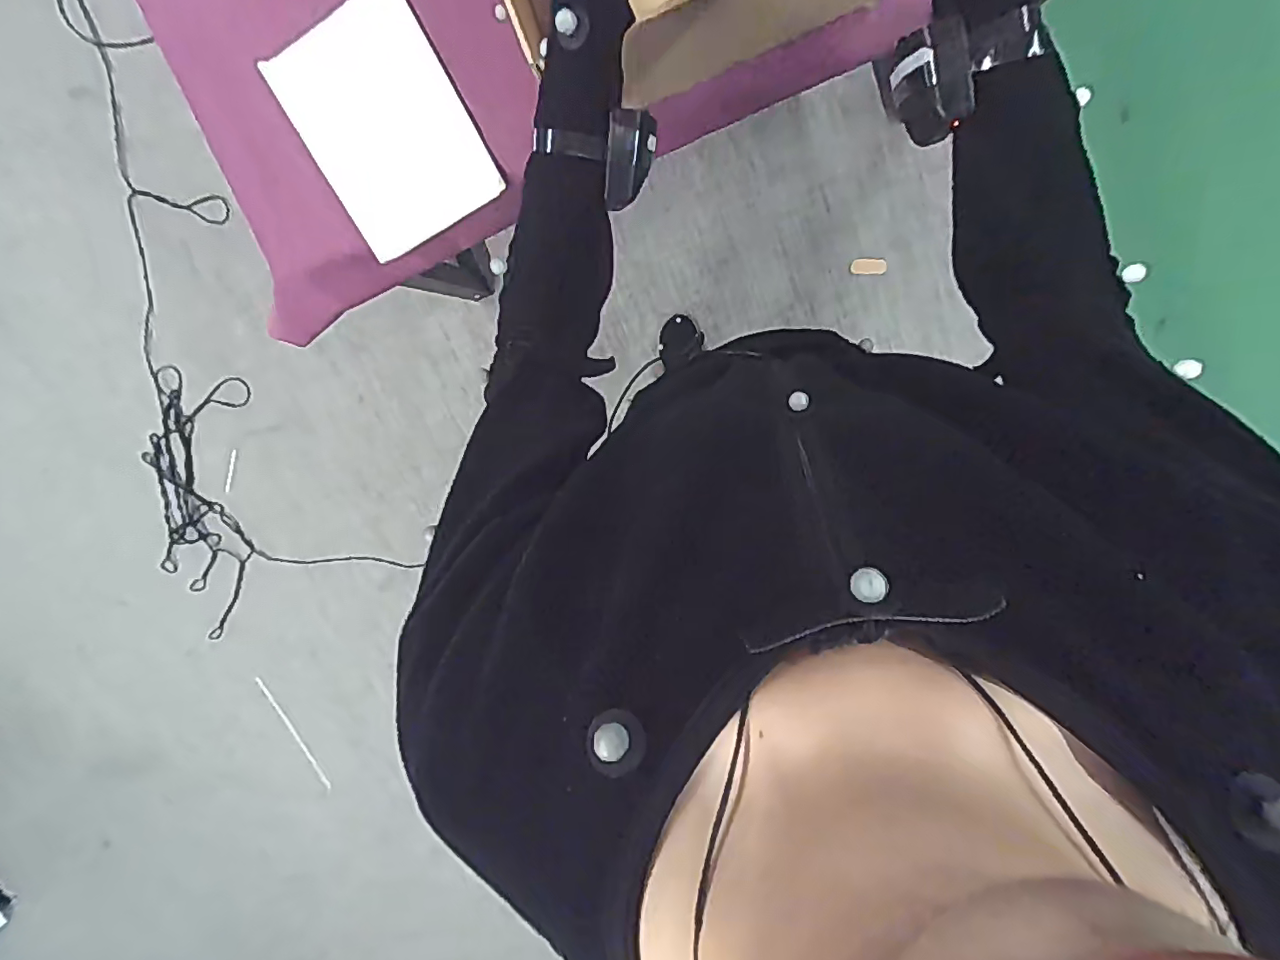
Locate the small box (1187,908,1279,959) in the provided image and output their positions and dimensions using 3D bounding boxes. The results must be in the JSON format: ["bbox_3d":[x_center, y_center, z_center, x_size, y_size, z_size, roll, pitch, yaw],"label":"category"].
[{"bbox_3d":[1.285,1.019,1.097,0.168,0.176,0.179,-30,99,11],"label":"small box"}]

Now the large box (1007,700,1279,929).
[{"bbox_3d":[1.345,0.899,1.485,0.408,0.320,0.320,-35,100,10],"label":"large box"}]

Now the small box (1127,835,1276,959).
[{"bbox_3d":[1.305,0.973,1.253,0.179,0.176,0.168,-31,98,12],"label":"small box"}]
